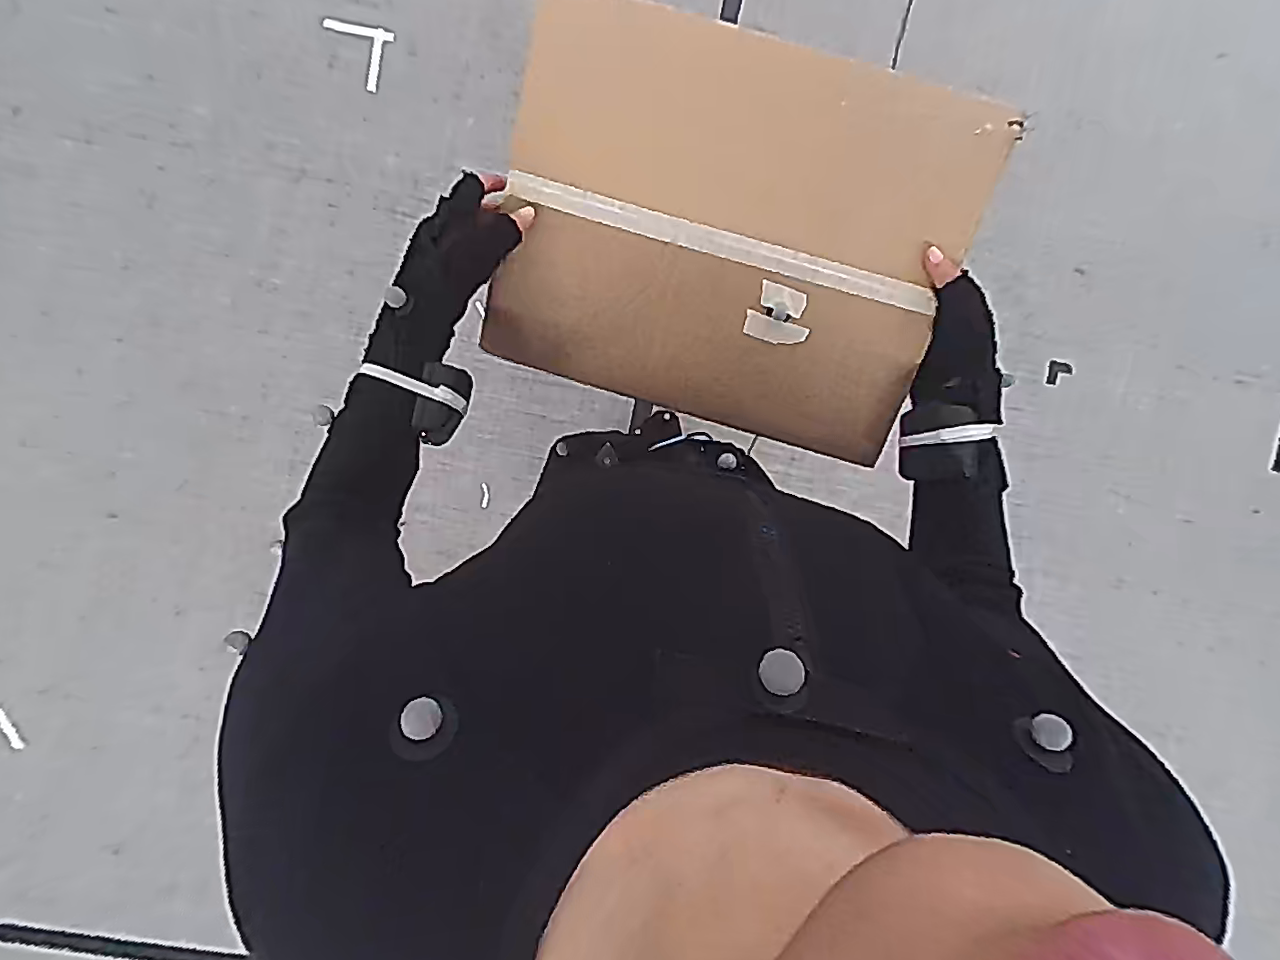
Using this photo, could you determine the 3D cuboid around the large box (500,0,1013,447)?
[{"bbox_3d":[0.097,-0.270,0.640,0.408,0.320,0.320,17,111,1],"label":"large box"}]
